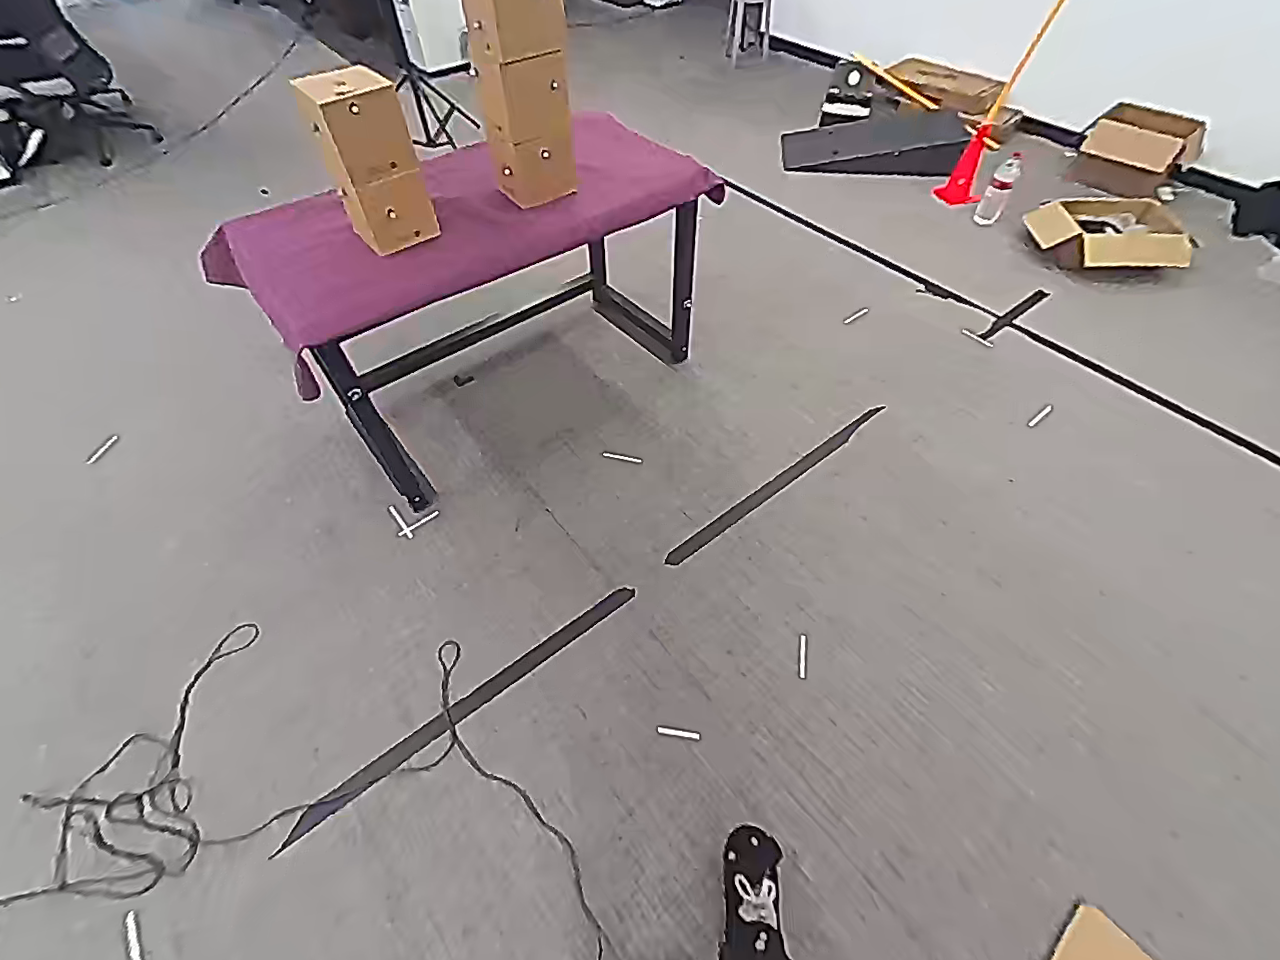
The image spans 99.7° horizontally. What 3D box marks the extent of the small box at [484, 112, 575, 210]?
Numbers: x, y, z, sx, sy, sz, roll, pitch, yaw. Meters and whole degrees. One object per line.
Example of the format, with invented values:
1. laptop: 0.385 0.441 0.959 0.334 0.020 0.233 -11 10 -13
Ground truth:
1. small box: -0.296 -0.871 1.482 0.179 0.176 0.168 -31 59 -21

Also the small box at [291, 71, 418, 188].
1. small box: -0.639 -0.792 1.224 0.168 0.176 0.179 -36 59 -22

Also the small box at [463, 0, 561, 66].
1. small box: -0.291 -1.071 1.219 0.179 0.176 0.168 -32 59 -20

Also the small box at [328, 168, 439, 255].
1. small box: -0.632 -0.688 1.351 0.168 0.176 0.179 -34 59 -22
